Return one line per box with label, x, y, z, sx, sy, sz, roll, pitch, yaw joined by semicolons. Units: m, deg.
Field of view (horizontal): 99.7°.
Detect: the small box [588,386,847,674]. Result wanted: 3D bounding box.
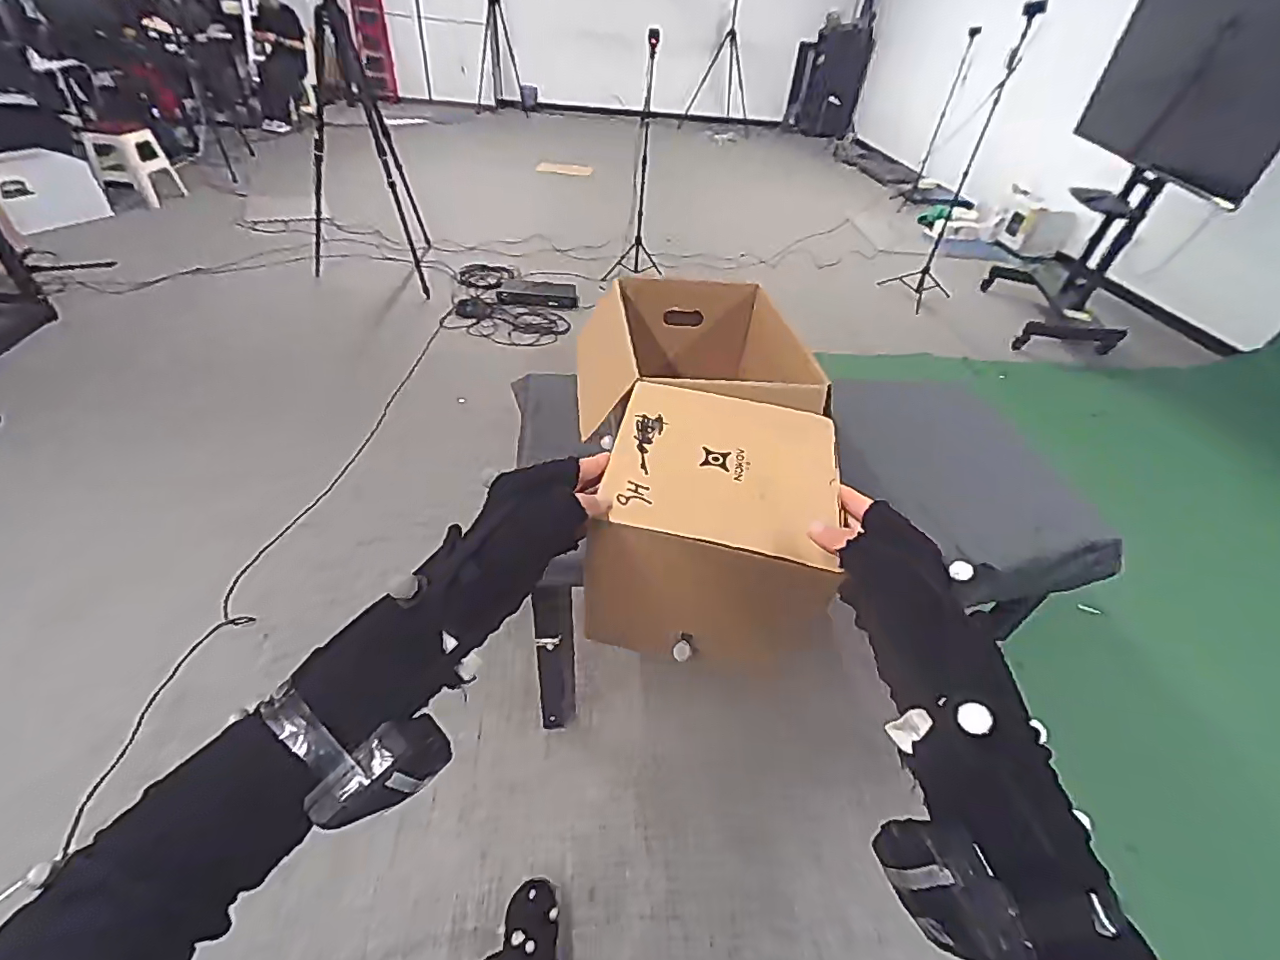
small box;0.061;0.048;0.476;0.179;0.176;0.168;13;45;4
